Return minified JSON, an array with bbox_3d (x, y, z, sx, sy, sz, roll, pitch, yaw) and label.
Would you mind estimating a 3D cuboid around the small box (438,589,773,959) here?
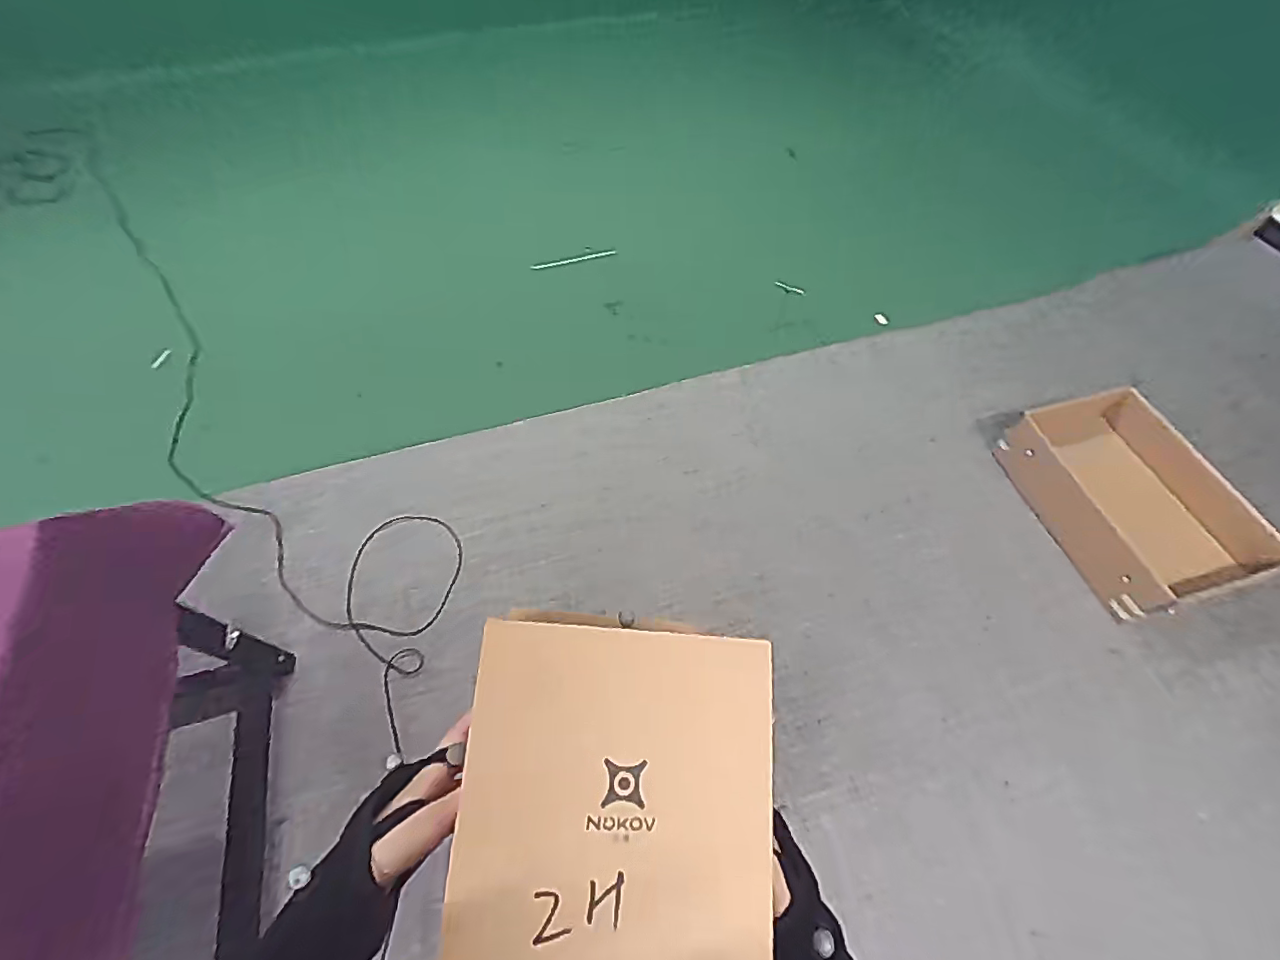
[{"bbox_3d":[-0.019,0.178,0.365,0.168,0.176,0.179,7,72,-5],"label":"small box"}]
